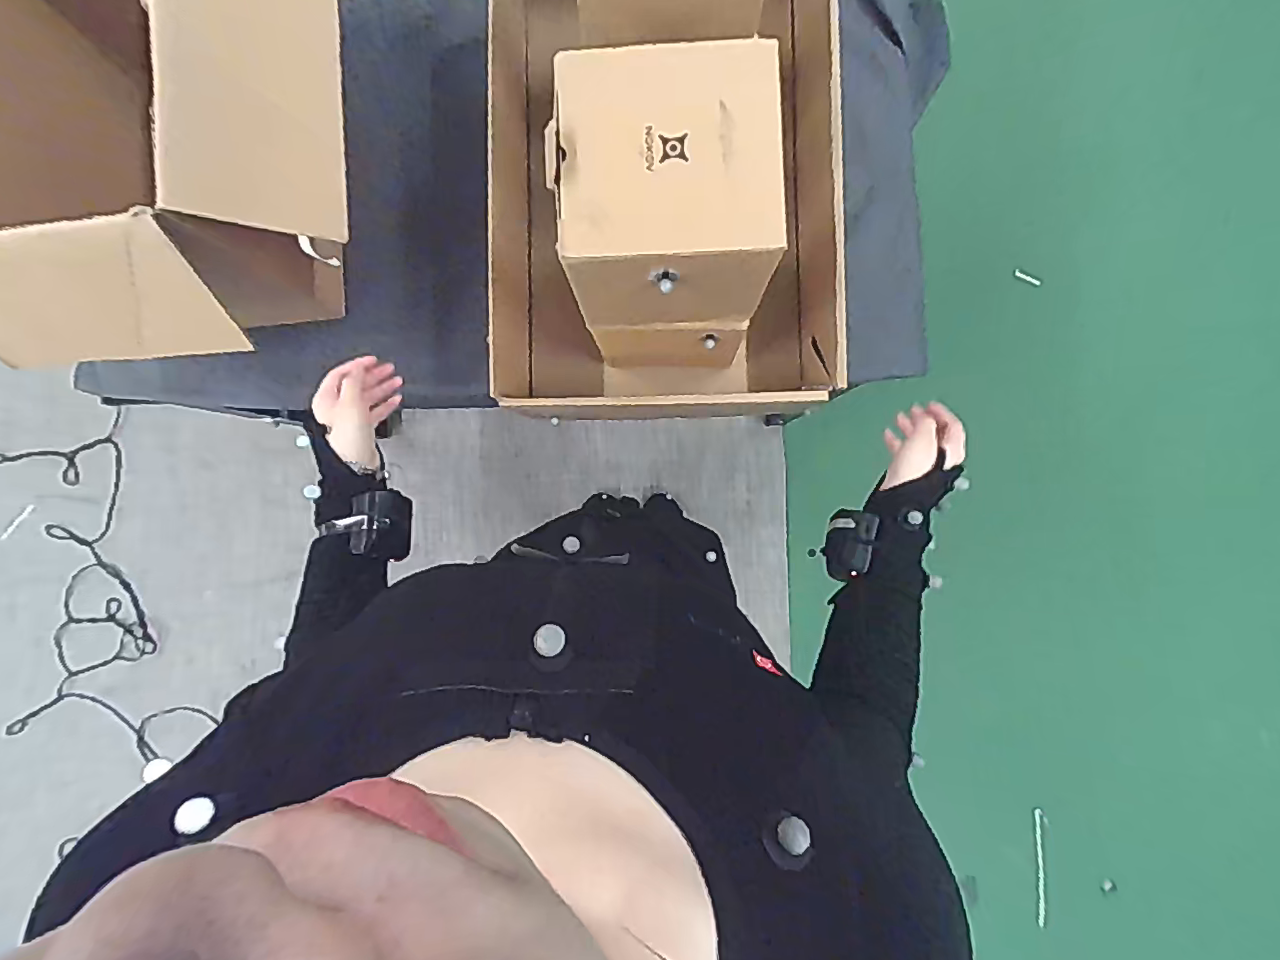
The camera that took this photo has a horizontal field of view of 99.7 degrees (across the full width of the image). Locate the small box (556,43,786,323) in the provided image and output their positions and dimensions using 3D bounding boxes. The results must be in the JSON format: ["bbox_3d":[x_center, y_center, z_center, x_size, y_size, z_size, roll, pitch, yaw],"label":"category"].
[{"bbox_3d":[0.026,-0.251,0.498,0.179,0.176,0.168,-2,88,2],"label":"small box"}]
